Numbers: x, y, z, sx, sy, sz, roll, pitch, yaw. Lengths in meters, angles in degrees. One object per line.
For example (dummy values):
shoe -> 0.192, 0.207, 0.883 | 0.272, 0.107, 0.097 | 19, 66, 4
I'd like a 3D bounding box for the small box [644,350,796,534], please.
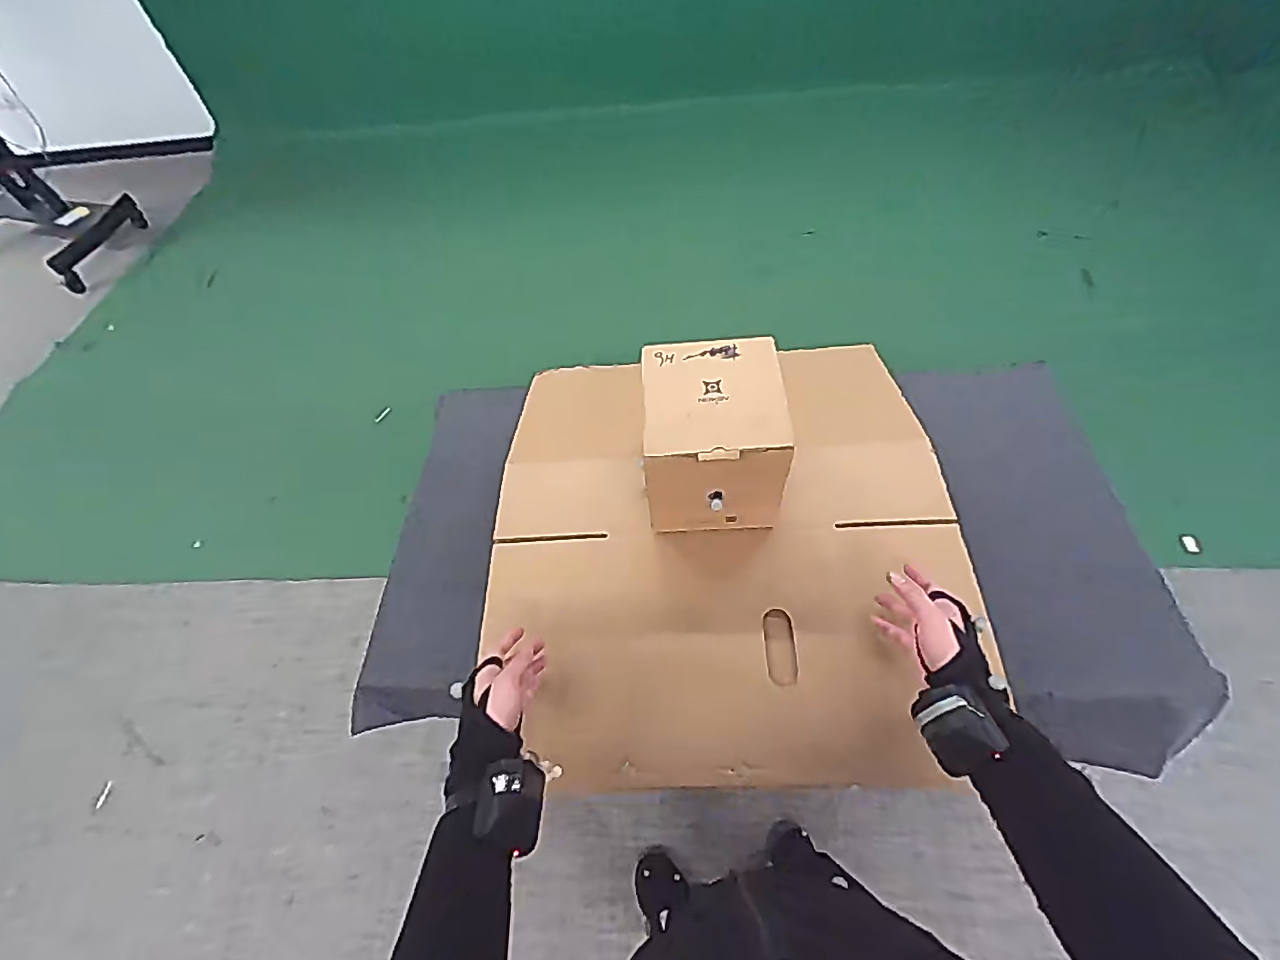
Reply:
small box -> 0.097, -0.040, 0.701 | 0.168, 0.176, 0.179 | -5, 55, 3
